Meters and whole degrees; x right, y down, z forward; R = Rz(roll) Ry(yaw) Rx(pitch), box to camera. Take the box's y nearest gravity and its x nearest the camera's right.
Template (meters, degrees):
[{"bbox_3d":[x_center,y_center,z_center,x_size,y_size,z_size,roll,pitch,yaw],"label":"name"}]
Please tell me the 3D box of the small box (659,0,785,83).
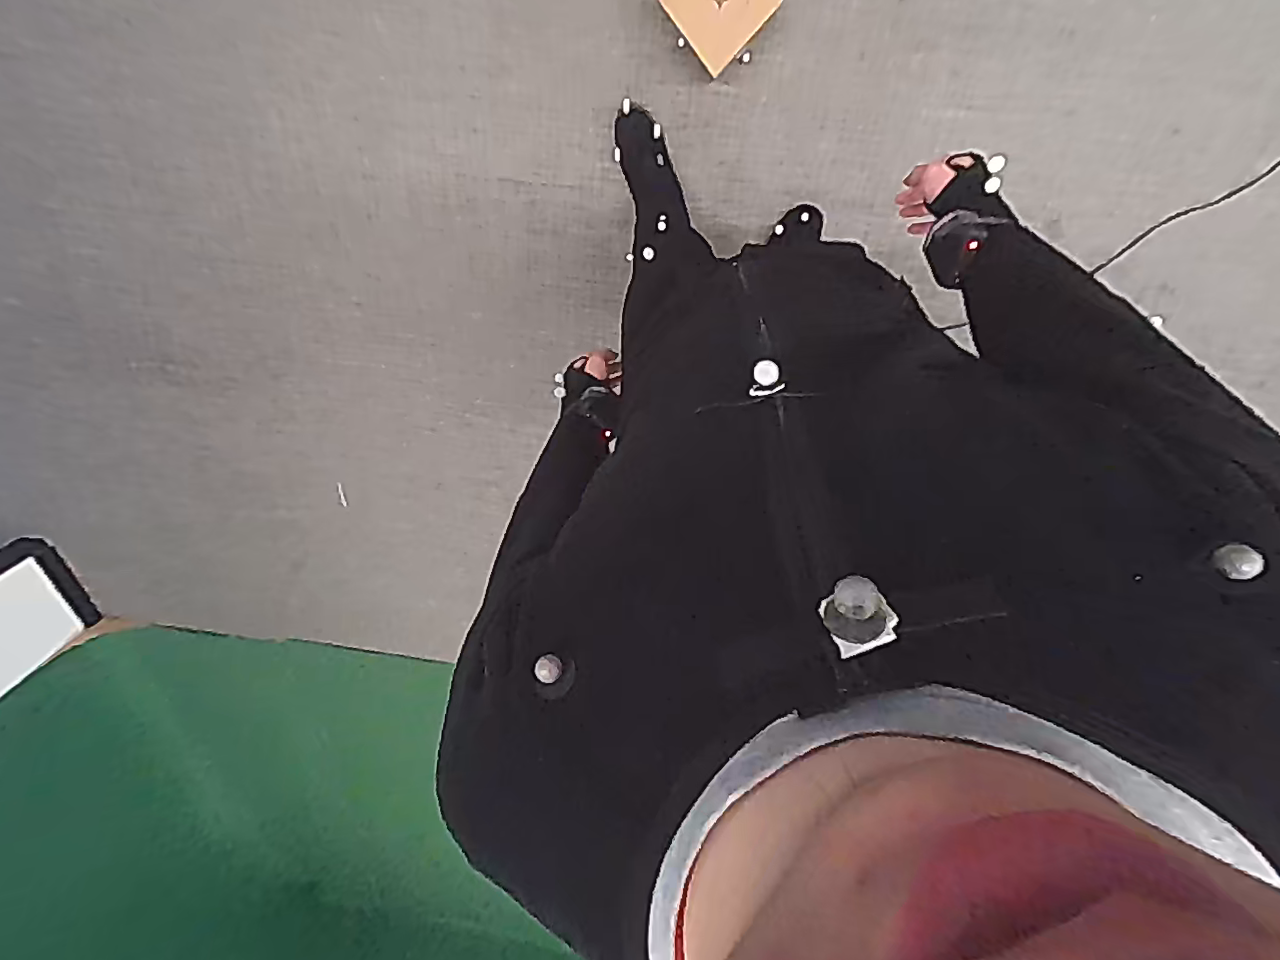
[{"bbox_3d":[0.160,-0.915,1.057,0.168,0.176,0.179,-37,111,29],"label":"small box"}]
